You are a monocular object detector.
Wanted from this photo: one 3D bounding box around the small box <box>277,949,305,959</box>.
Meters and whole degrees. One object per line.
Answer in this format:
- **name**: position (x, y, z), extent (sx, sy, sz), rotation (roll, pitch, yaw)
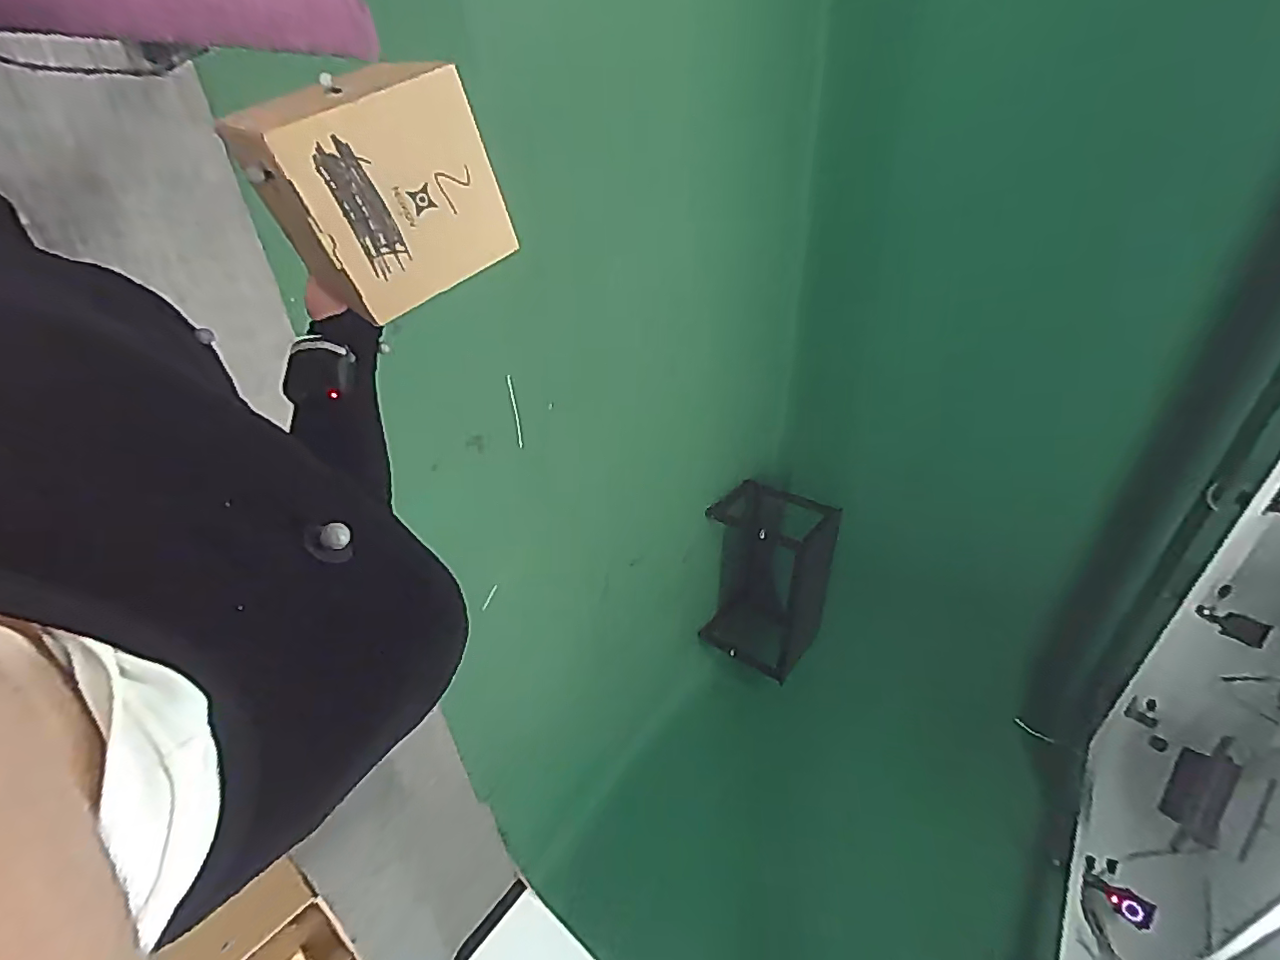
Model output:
- **small box**: position (-1.001, 1.489, 1.525), extent (0.168, 0.176, 0.179), rotation (-34, 132, -42)
